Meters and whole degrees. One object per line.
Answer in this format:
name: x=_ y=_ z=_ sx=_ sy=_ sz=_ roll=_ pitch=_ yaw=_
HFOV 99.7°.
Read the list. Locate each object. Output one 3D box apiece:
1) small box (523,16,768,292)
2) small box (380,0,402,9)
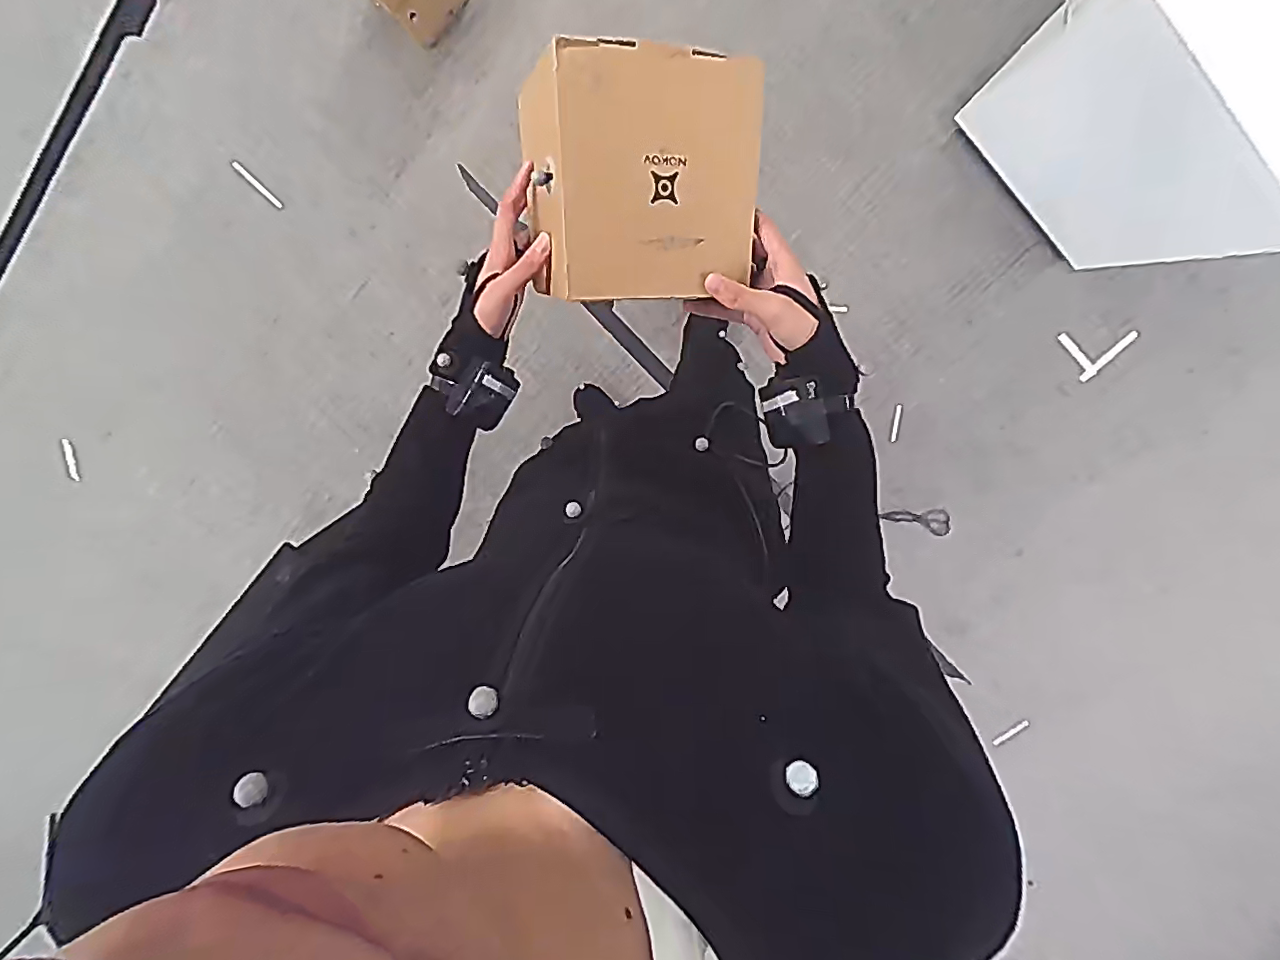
small box: x=-0.006 y=-0.263 z=0.483 sx=0.168 sy=0.176 sz=0.179 roll=-8 pitch=113 yaw=-18
small box: x=-0.528 y=-1.092 z=1.054 sx=0.168 sy=0.176 sz=0.179 roll=44 pitch=103 yaw=-11
